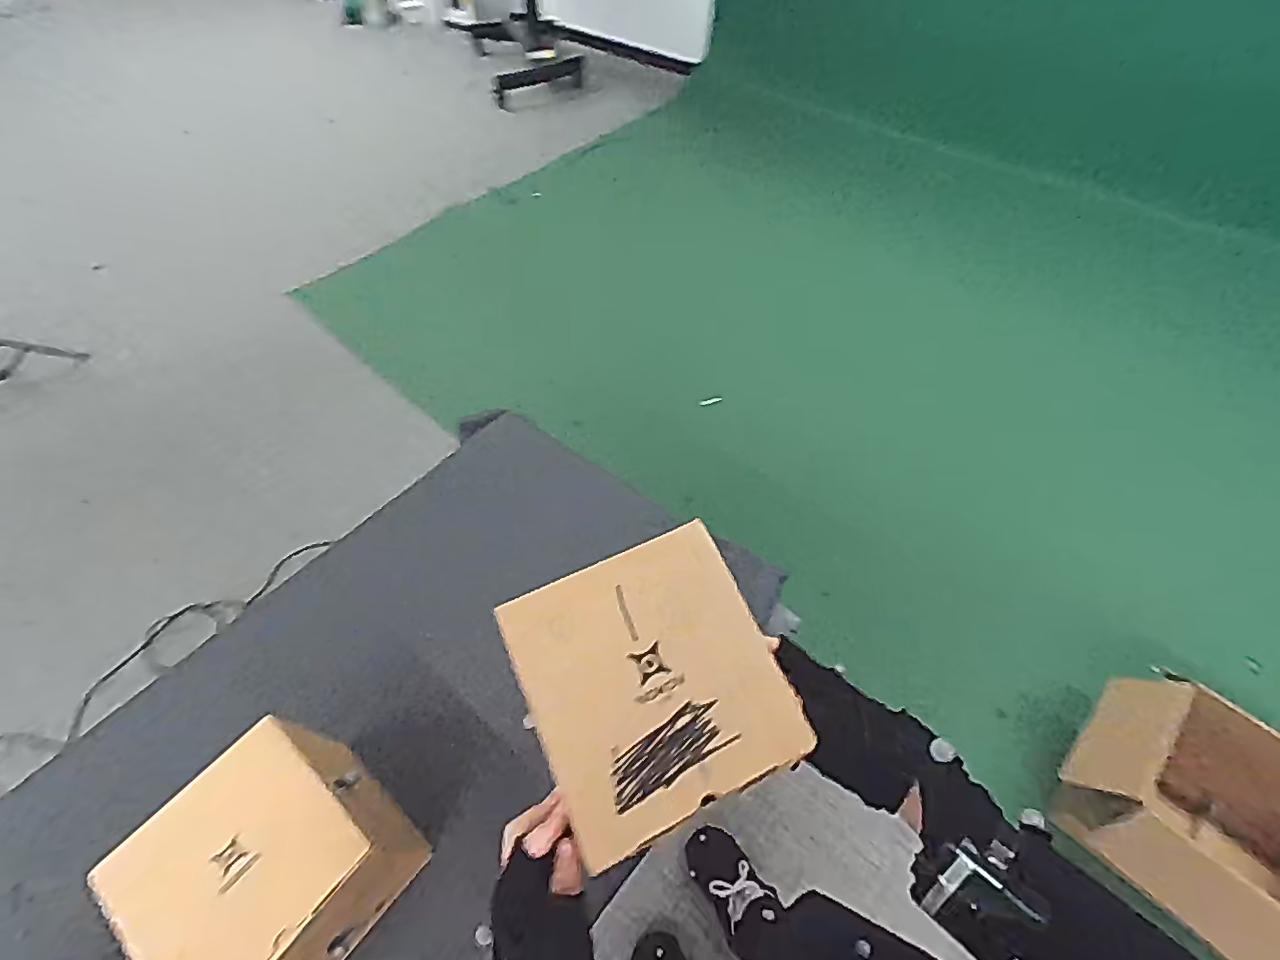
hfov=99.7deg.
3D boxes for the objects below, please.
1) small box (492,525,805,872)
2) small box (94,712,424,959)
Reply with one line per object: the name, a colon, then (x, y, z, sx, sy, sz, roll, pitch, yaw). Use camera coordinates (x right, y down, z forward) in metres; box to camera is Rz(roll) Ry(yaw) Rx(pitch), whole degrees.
small box: (-0.001, 0.161, 0.438, 0.168, 0.176, 0.179, -20, 72, -11)
small box: (-0.350, 0.369, 0.530, 0.179, 0.176, 0.168, 34, 61, 21)
